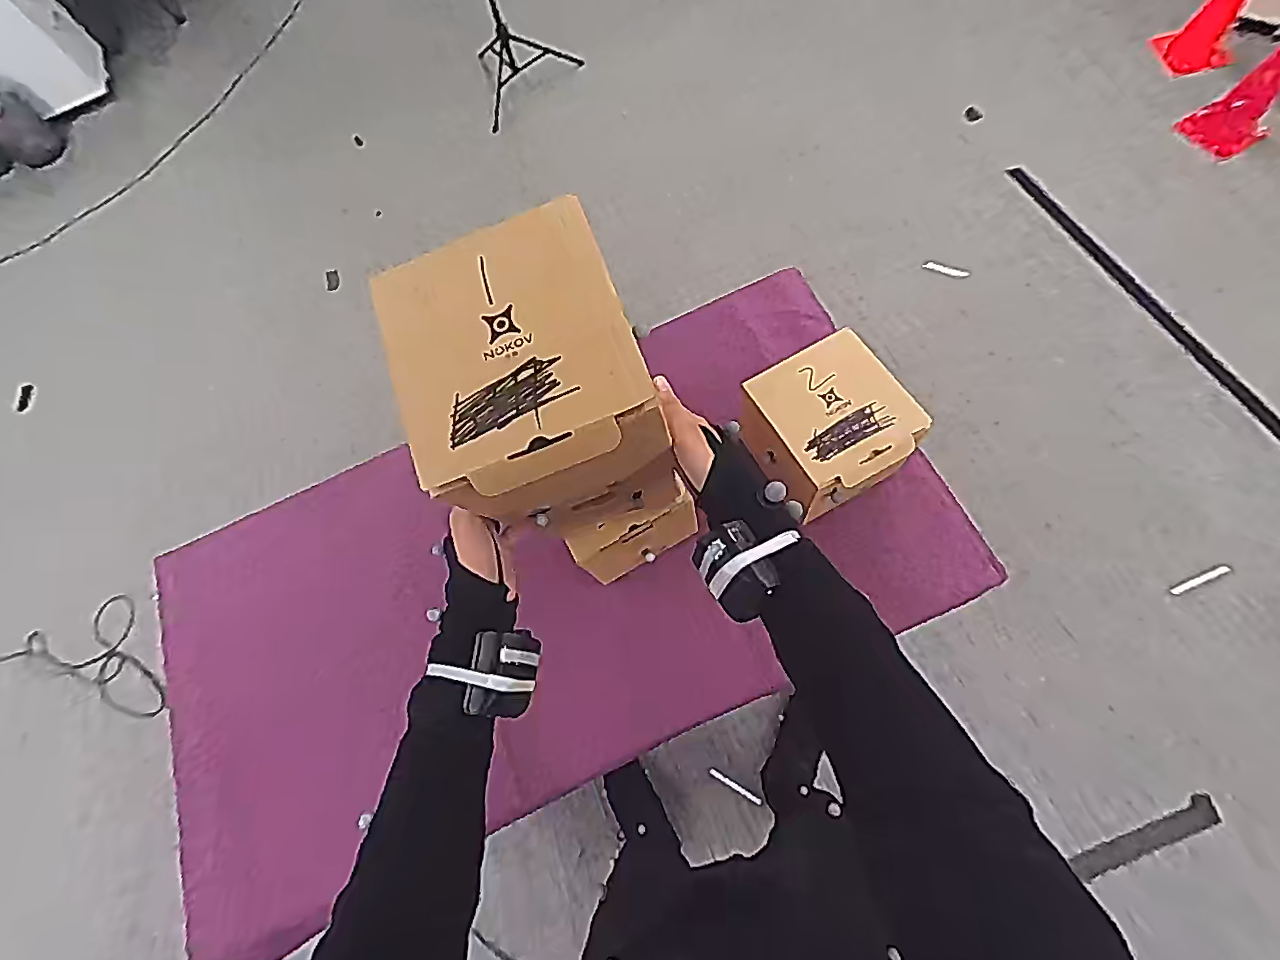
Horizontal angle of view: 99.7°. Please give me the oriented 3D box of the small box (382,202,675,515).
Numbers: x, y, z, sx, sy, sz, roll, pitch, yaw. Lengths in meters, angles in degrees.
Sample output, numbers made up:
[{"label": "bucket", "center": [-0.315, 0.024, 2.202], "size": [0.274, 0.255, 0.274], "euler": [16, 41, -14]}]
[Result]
[{"label": "small box", "center": [-0.077, -0.079, 0.453], "size": [0.168, 0.176, 0.179], "euler": [-21, 74, 3]}]

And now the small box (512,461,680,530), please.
[{"label": "small box", "center": [-0.059, -0.048, 0.614], "size": [0.168, 0.176, 0.179], "euler": [-19, 75, 3]}]

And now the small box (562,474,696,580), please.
[{"label": "small box", "center": [-0.033, 0.022, 0.774], "size": [0.168, 0.176, 0.179], "euler": [-29, 69, -2]}]
